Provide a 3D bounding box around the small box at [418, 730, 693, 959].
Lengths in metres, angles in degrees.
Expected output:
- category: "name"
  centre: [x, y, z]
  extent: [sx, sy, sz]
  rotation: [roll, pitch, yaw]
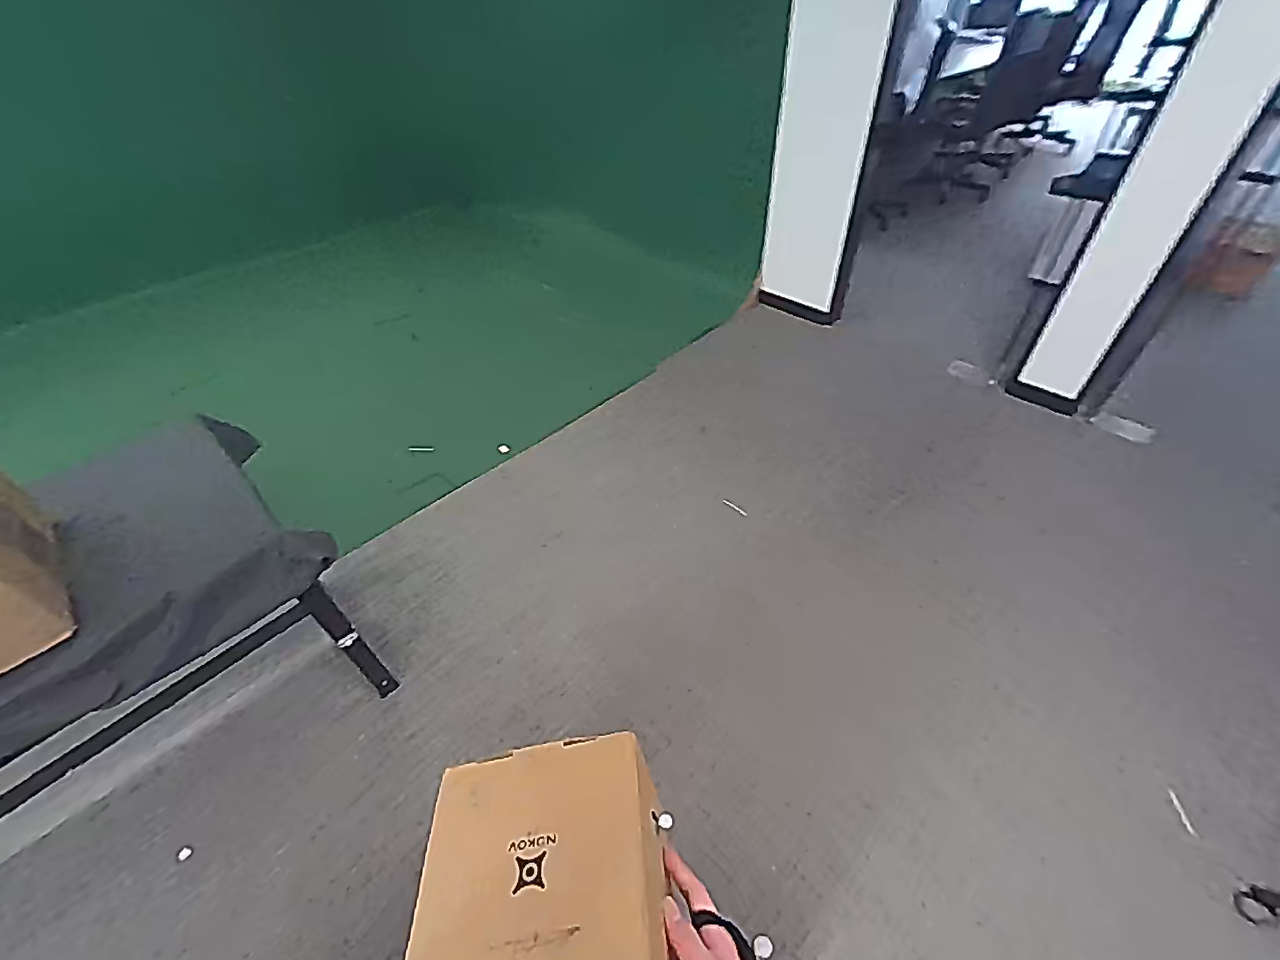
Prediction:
- category: "small box"
  centre: [-0.054, 0.338, 0.430]
  extent: [0.168, 0.176, 0.179]
  rotation: [-14, 35, 1]
